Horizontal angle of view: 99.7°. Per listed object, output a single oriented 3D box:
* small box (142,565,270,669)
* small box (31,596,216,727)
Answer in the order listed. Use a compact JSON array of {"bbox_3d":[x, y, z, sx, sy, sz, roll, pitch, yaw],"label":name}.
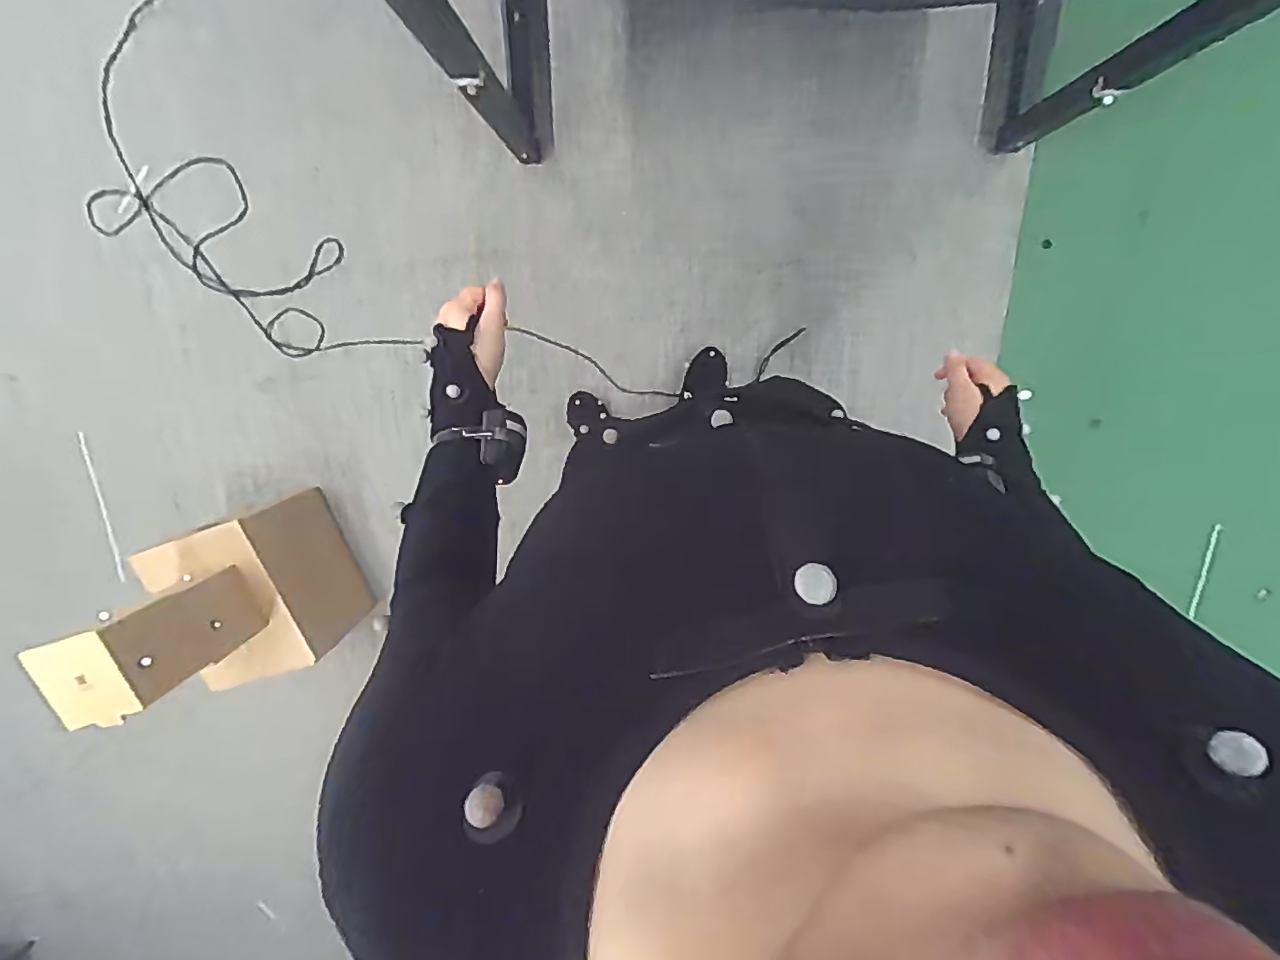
[{"bbox_3d":[-1.005,0.322,1.241,0.168,0.176,0.179,-17,103,6],"label":"small box"},{"bbox_3d":[-1.015,0.350,1.080,0.168,0.176,0.179,-17,104,5],"label":"small box"}]
